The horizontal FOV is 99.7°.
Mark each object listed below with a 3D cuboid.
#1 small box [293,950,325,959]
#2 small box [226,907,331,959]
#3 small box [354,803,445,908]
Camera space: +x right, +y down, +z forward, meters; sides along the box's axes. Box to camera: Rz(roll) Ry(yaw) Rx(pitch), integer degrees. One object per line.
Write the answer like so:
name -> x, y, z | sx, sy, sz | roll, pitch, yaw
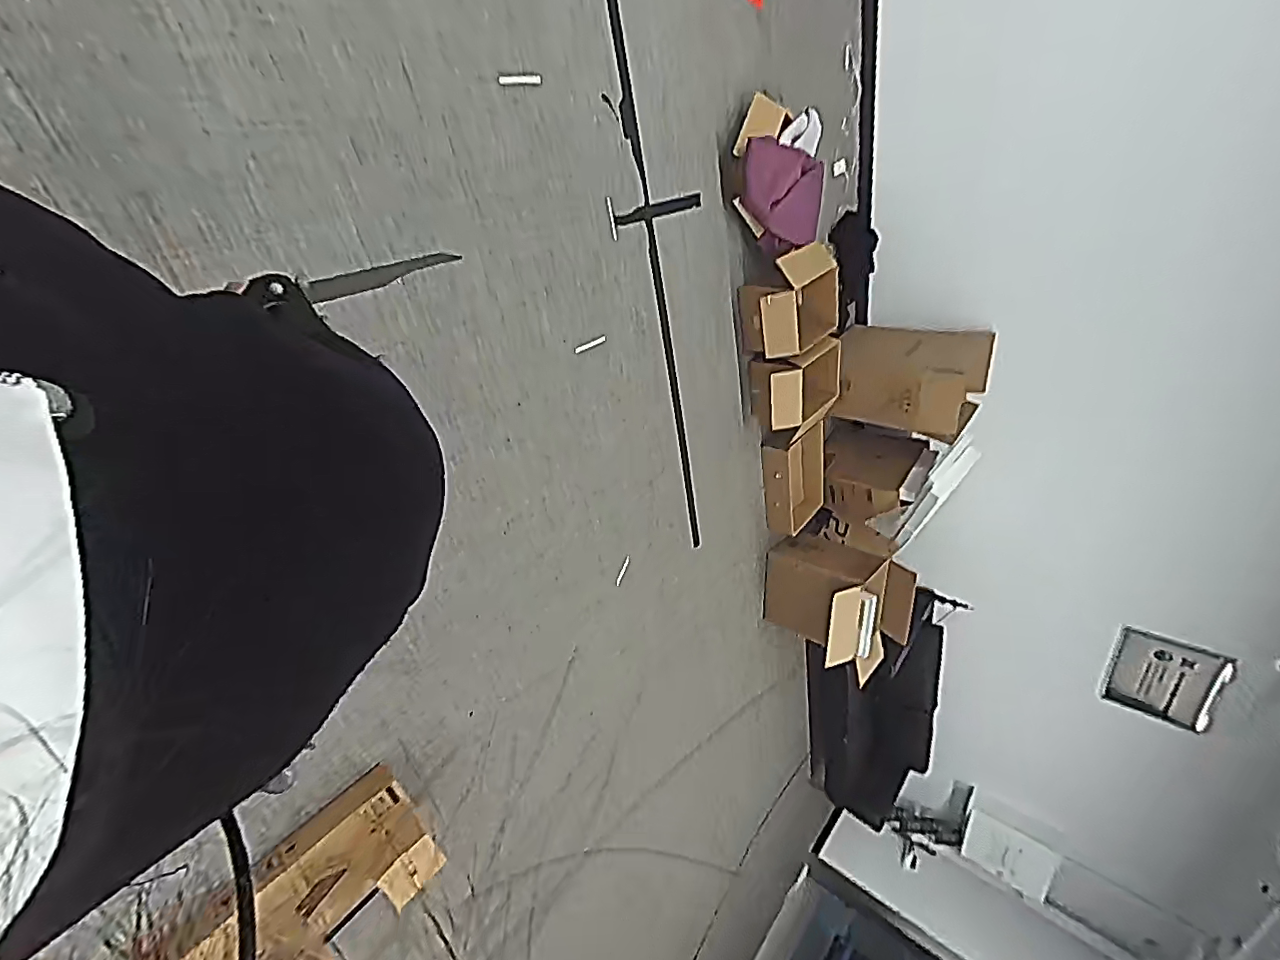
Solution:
small box -> -0.833, 1.329, 1.341 | 0.168, 0.176, 0.179 | -41, 131, -34
small box -> -0.960, 1.295, 1.439 | 0.168, 0.176, 0.179 | -38, 129, -34
small box -> -0.729, 1.130, 1.641 | 0.168, 0.176, 0.179 | -36, 128, -36
